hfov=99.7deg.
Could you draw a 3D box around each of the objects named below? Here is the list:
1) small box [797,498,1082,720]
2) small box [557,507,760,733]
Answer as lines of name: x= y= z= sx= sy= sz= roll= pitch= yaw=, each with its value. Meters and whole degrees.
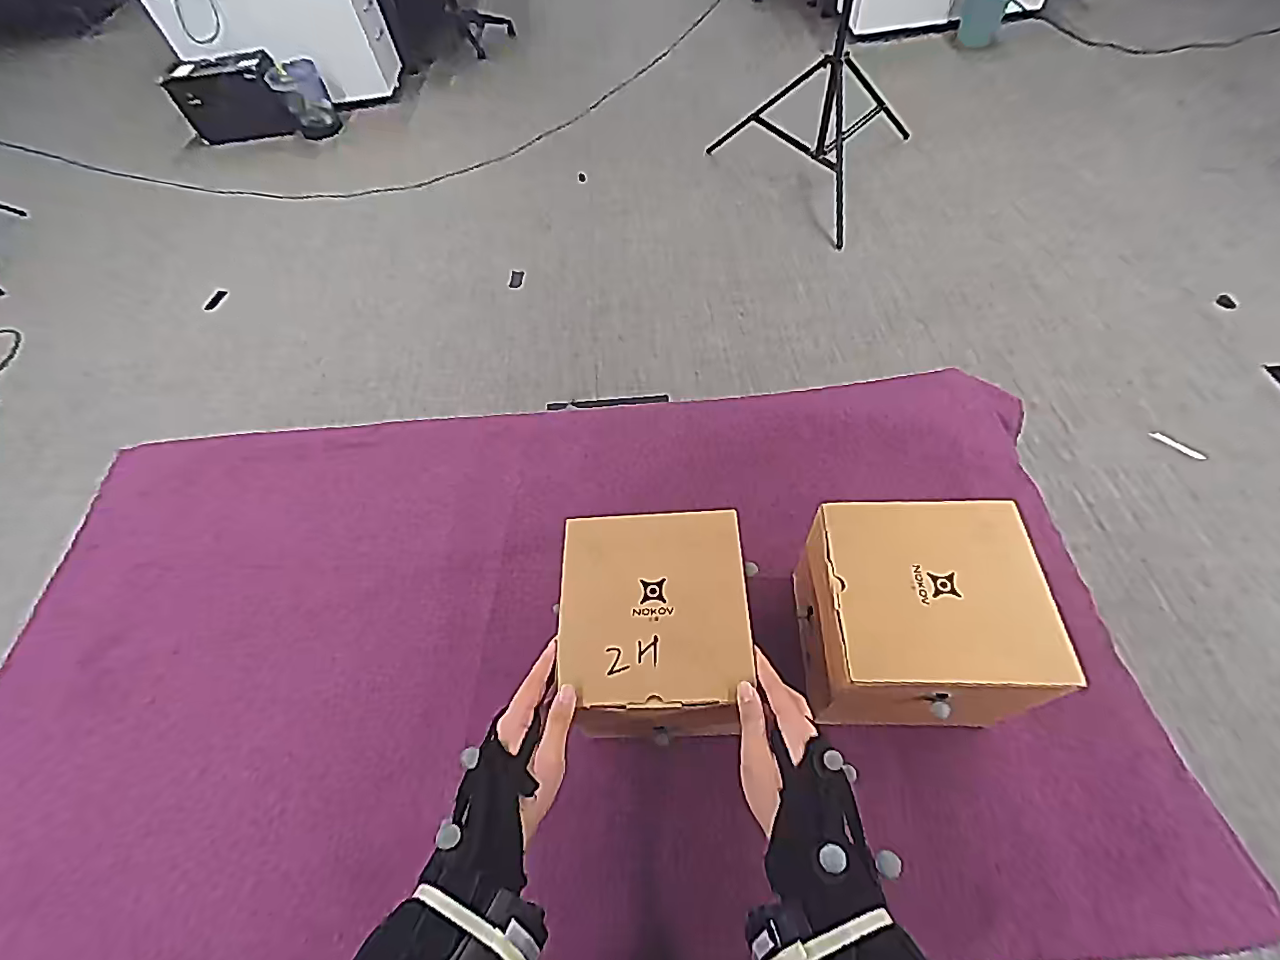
small box: x=0.262 y=0.131 z=0.527 sx=0.179 sy=0.176 sz=0.168 roll=-2 pitch=56 yaw=6
small box: x=0.022 y=0.145 z=0.542 sx=0.168 sy=0.176 sz=0.179 roll=-4 pitch=57 yaw=5
